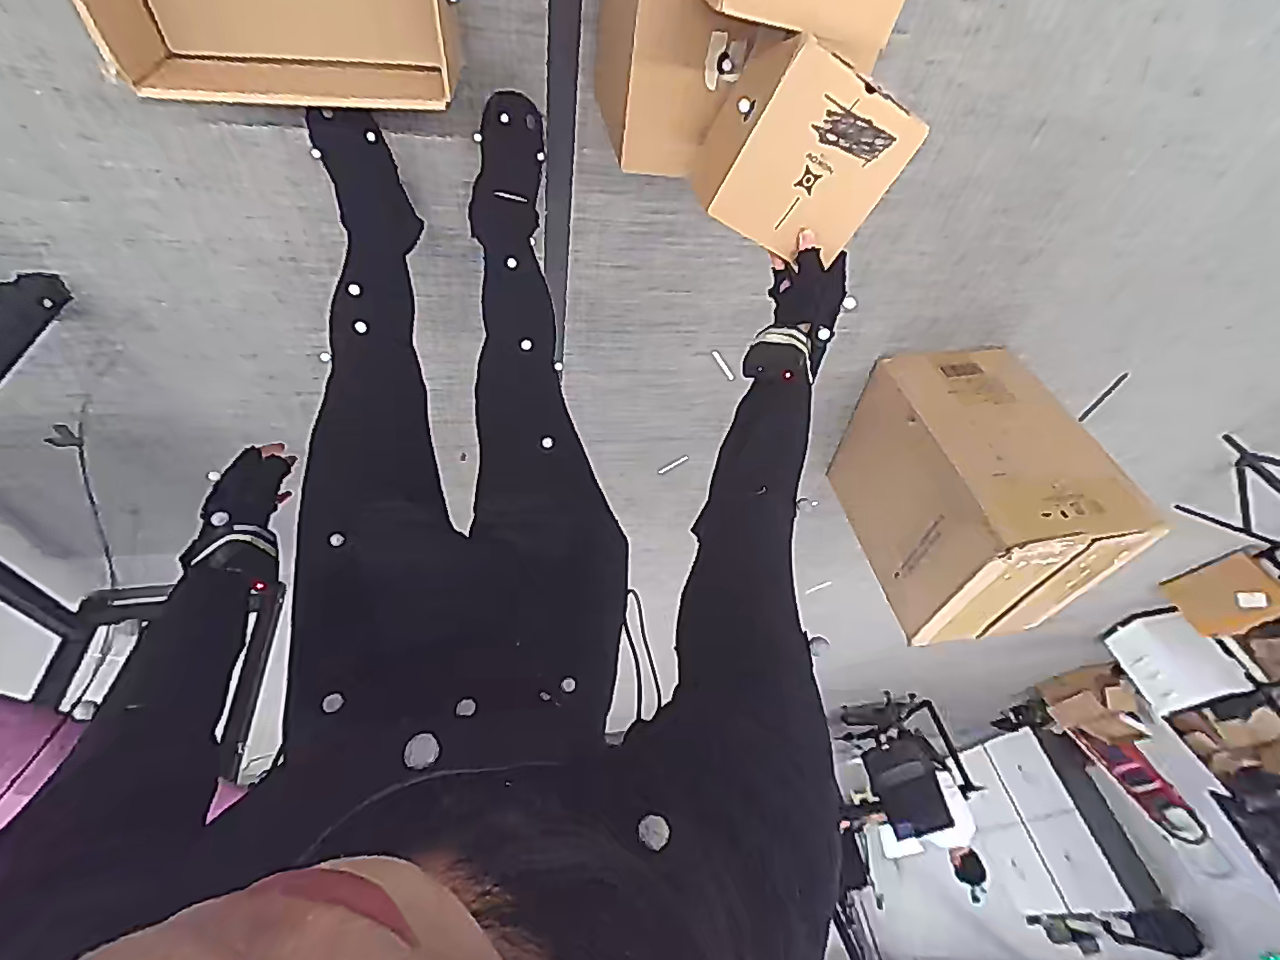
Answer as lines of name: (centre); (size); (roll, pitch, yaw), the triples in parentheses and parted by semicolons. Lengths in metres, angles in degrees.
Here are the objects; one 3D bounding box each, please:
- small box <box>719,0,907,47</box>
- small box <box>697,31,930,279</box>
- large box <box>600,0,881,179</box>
small box: (0.155, -0.528, 0.485); (0.179, 0.176, 0.168); (-1, 142, -14)
small box: (0.180, -0.375, 0.624); (0.168, 0.176, 0.179); (20, 129, -20)
large box: (0.128, -0.663, 0.703); (0.320, 0.320, 0.408); (-2, 142, -11)
